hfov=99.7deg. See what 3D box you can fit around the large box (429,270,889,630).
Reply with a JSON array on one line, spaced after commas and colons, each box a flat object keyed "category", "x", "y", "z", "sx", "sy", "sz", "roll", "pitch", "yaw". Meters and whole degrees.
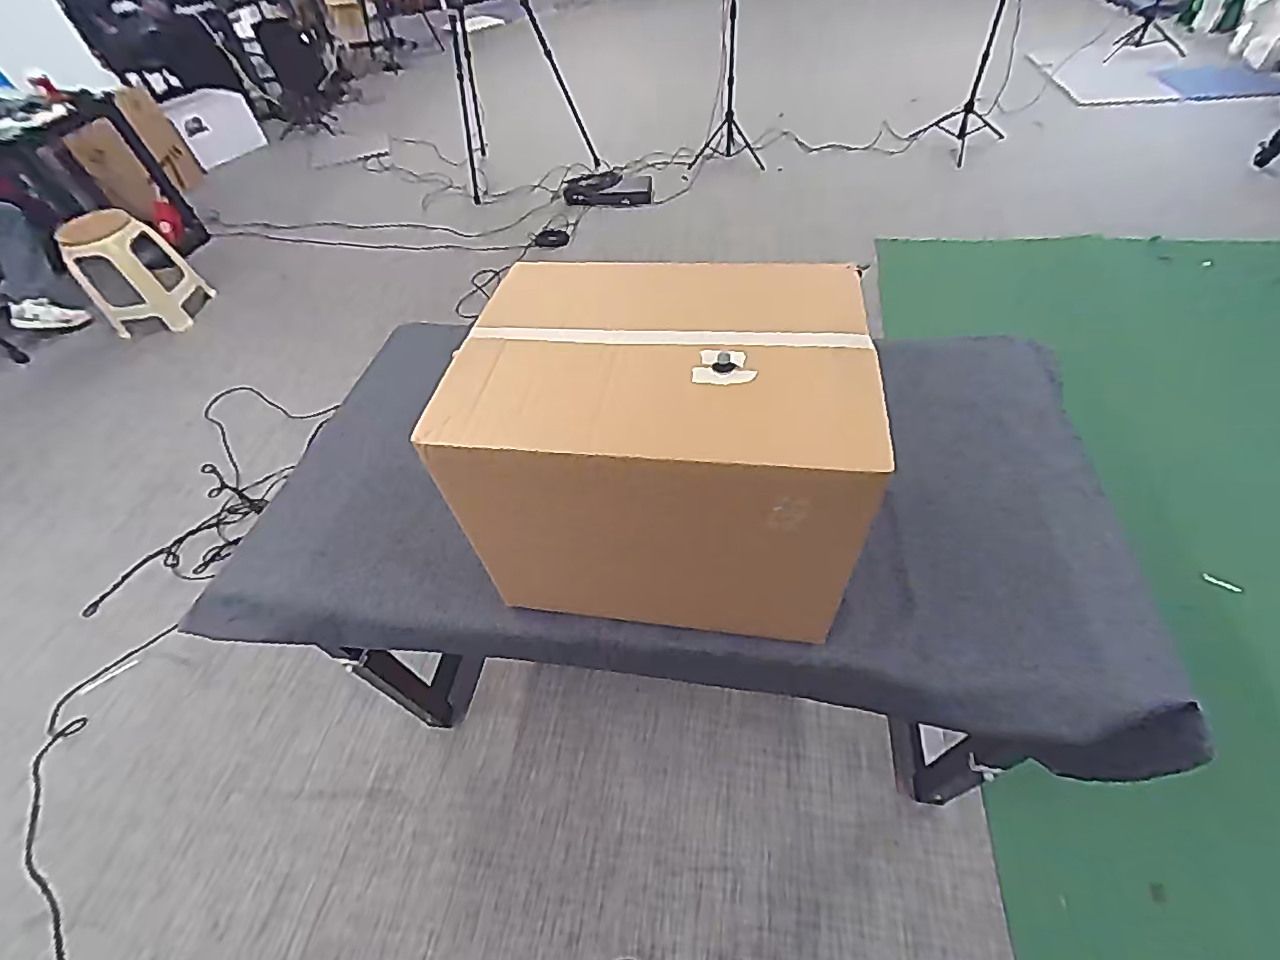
[{"category": "large box", "x": 0.034, "y": -0.039, "z": 0.663, "sx": 0.408, "sy": 0.320, "sz": 0.320, "roll": 4, "pitch": 50, "yaw": 9}]
